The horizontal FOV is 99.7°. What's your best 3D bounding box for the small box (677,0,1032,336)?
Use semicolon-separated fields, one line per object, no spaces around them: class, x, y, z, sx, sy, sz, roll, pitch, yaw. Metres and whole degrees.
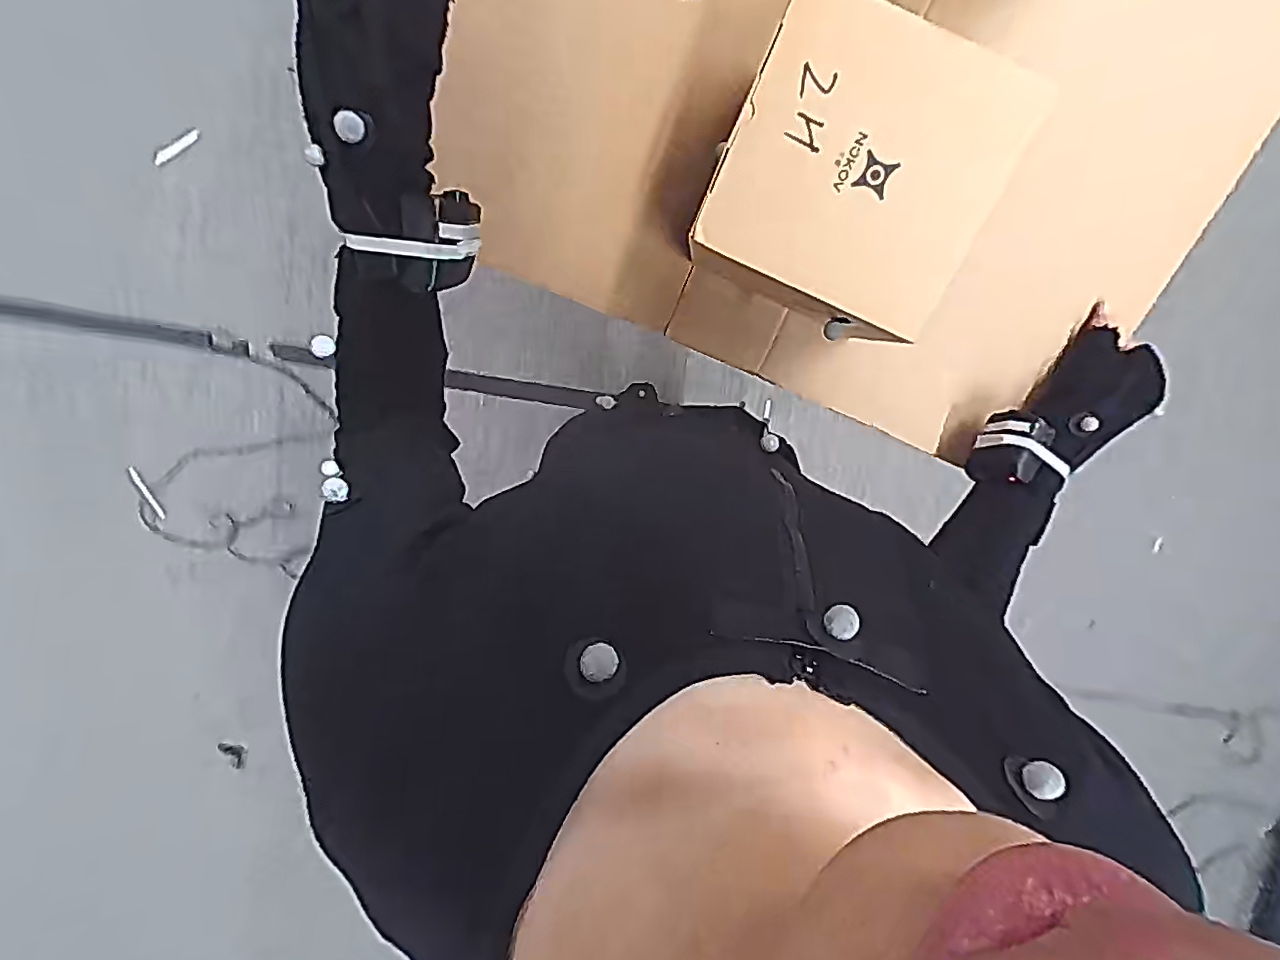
small box;0.144;-0.230;0.434;0.179;0.176;0.168;24;107;-1
